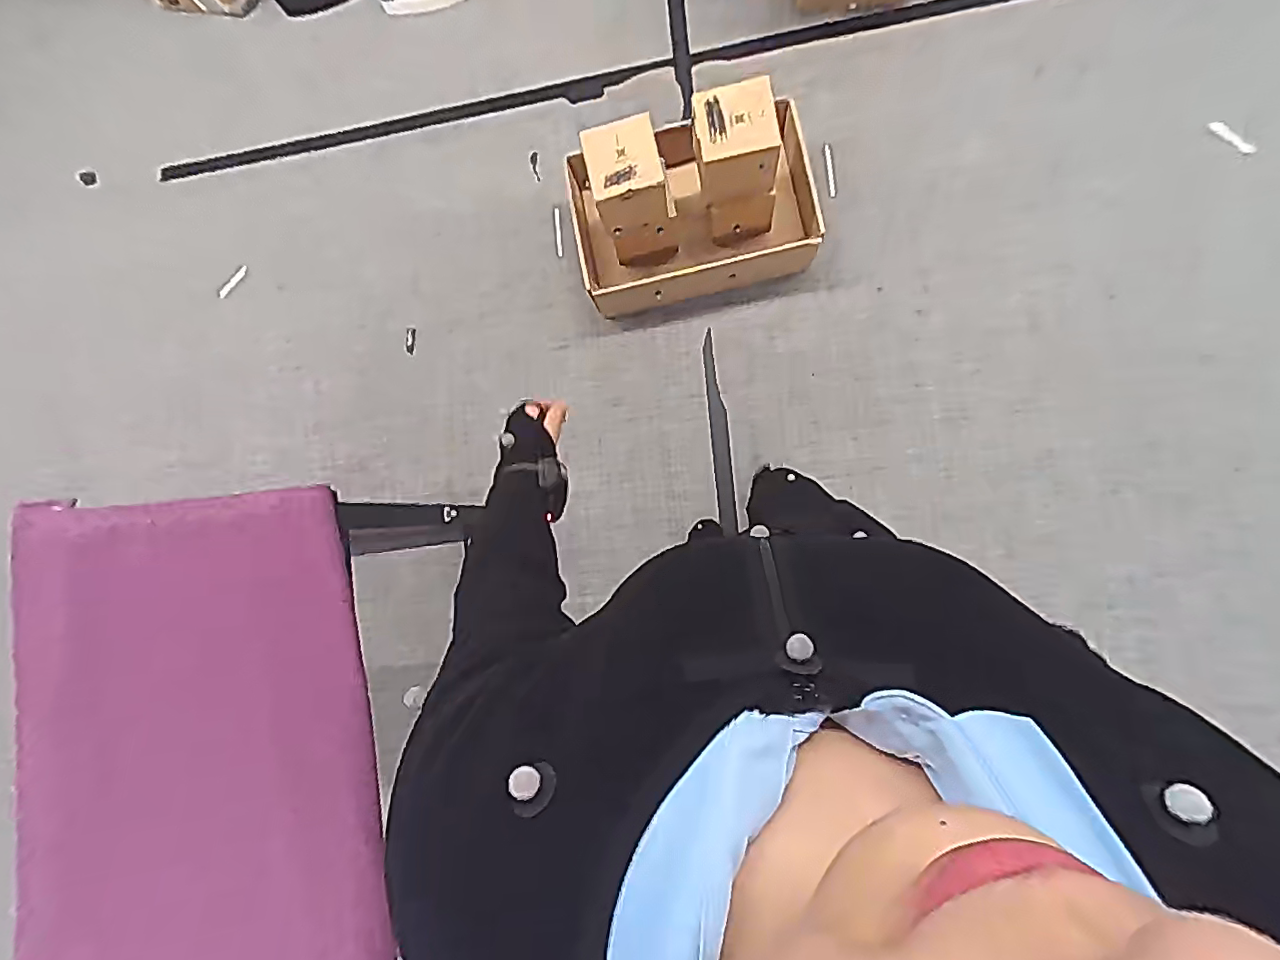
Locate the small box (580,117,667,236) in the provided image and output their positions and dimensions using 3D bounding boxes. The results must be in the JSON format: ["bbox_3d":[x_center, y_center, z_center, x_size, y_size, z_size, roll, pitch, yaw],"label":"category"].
[{"bbox_3d":[-0.033,-0.713,1.296,0.168,0.176,0.179,-13,83,4],"label":"small box"}]

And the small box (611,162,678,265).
[{"bbox_3d":[0.002,-0.710,1.459,0.179,0.176,0.168,-13,83,5],"label":"small box"}]

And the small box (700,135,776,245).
[{"bbox_3d":[0.254,-0.761,1.433,0.168,0.176,0.179,-11,85,7],"label":"small box"}]
